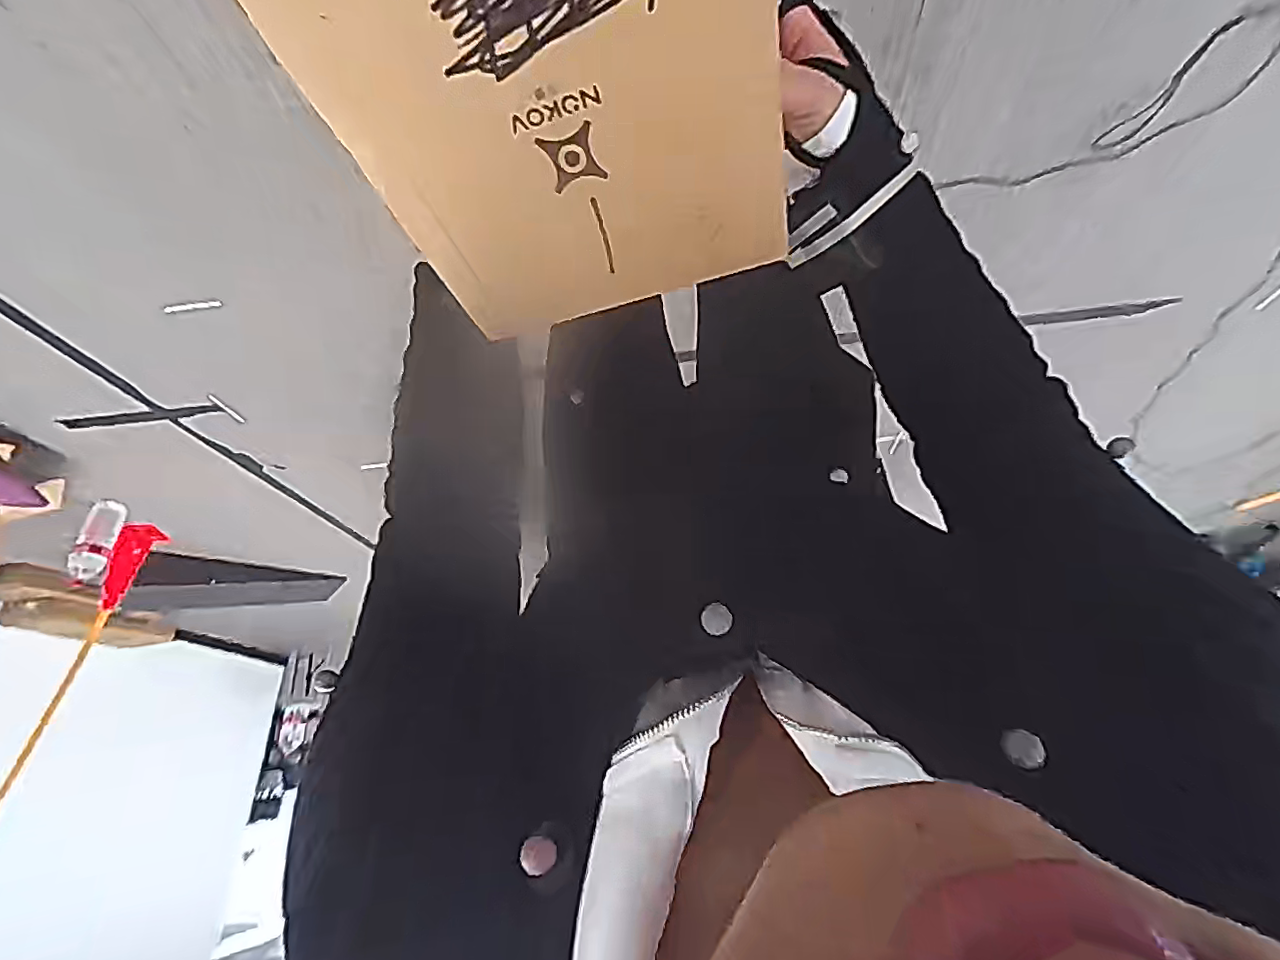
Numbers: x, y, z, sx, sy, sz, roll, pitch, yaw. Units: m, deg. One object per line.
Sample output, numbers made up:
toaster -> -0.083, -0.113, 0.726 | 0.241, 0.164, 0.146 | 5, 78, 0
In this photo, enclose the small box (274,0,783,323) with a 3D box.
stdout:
small box -> -0.034, -0.214, 0.259 | 0.168, 0.176, 0.179 | -12, 149, 11
